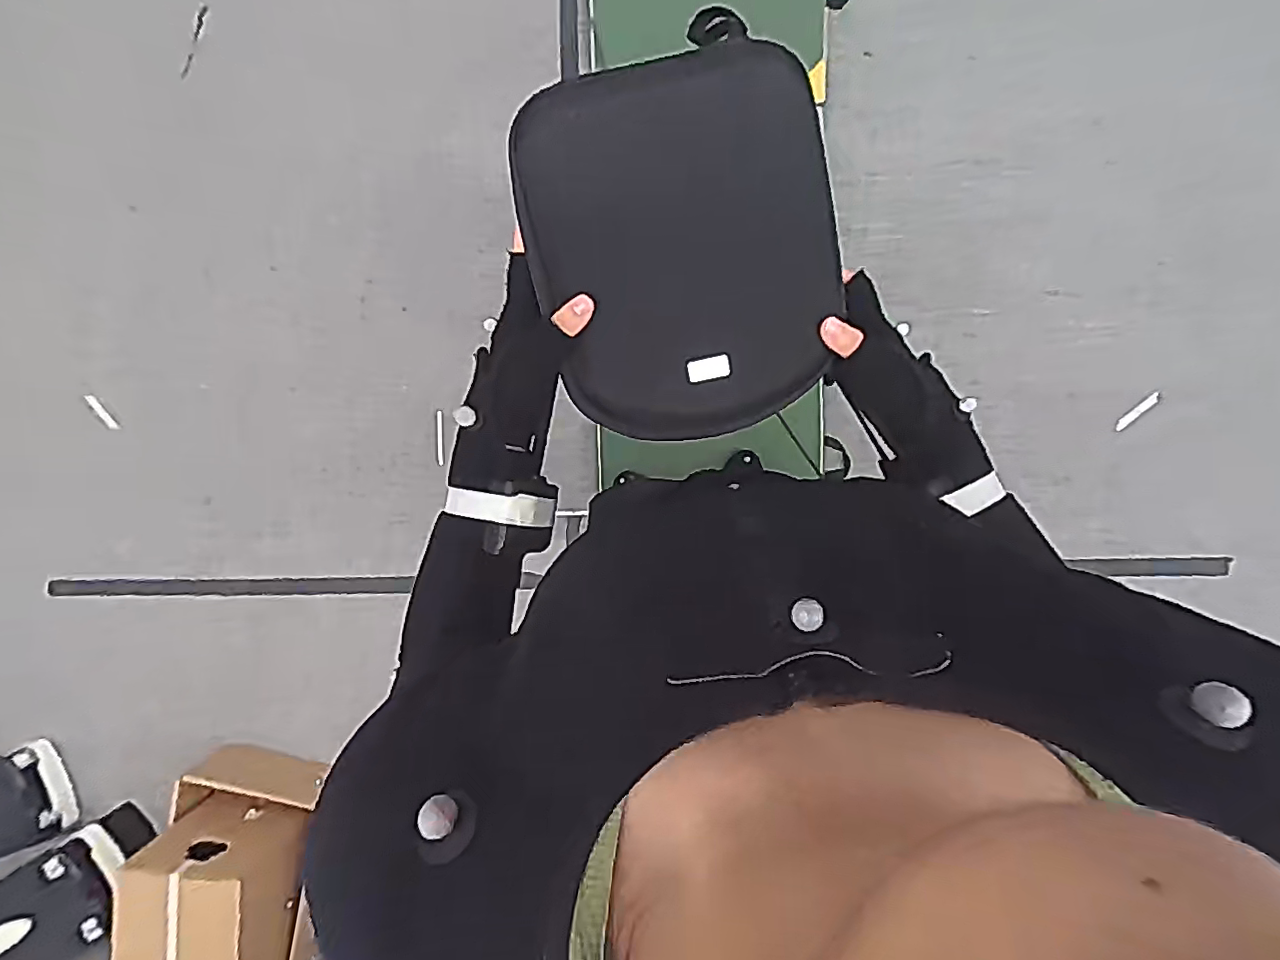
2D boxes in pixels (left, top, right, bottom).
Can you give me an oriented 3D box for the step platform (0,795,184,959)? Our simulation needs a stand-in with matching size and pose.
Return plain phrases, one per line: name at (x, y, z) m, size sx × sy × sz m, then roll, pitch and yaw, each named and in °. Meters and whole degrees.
step platform at (-1.746, 1.237, 1.589) m, size 0.684 × 0.204 × 0.286 m, roll -30°, pitch 92°, yaw 4°
